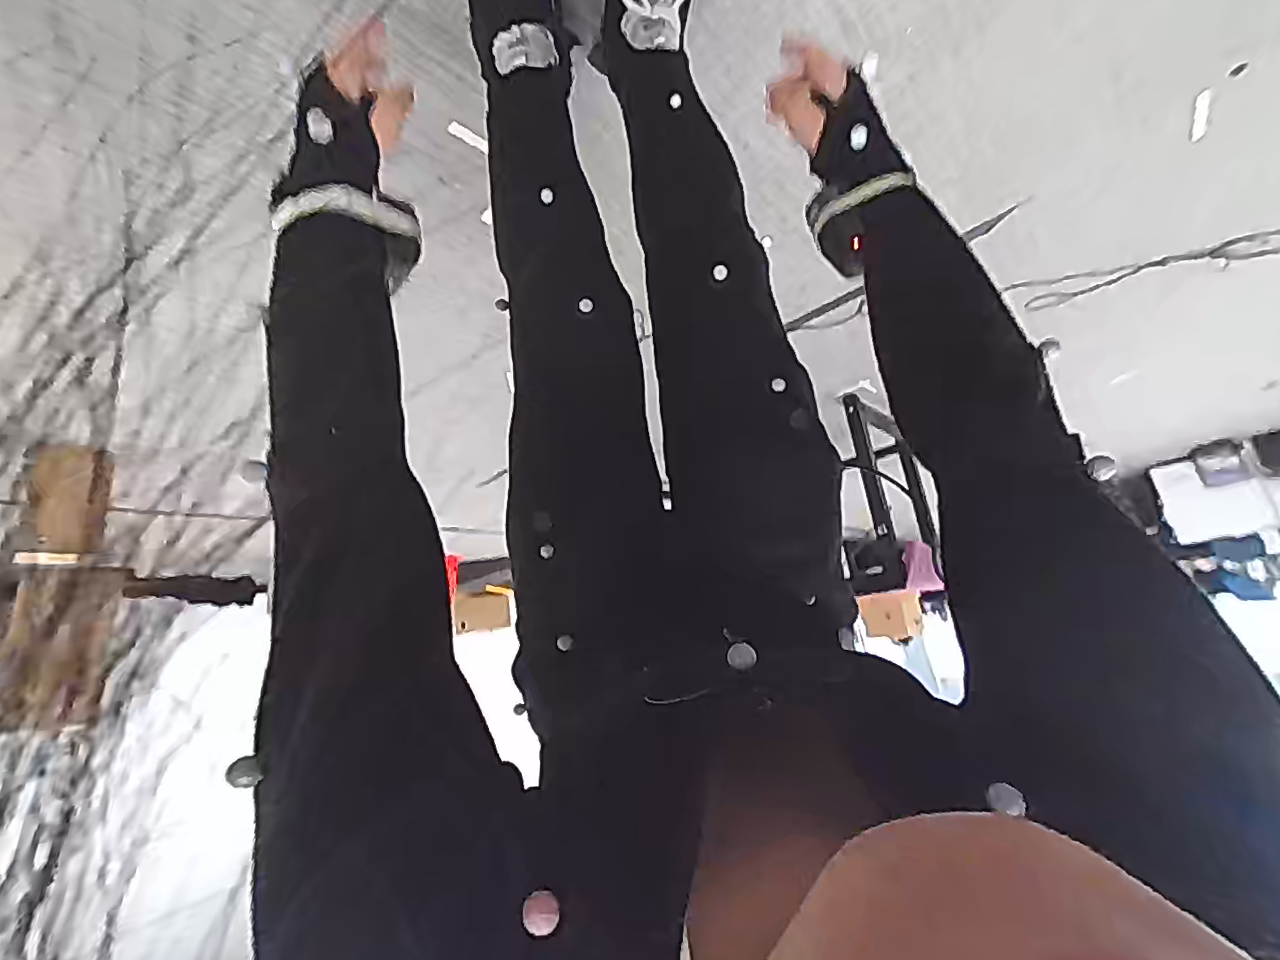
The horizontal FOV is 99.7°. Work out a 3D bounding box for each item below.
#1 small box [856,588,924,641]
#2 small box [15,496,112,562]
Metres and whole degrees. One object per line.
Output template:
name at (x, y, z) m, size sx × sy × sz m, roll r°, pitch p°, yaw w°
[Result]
small box at (0.950, 0.512, 2.065) m, size 0.179 × 0.176 × 0.168 m, roll 8°, pitch 158°, yaw -43°
small box at (-1.777, 0.152, 1.670) m, size 0.168 × 0.176 × 0.179 m, roll -19°, pitch 160°, yaw 36°
